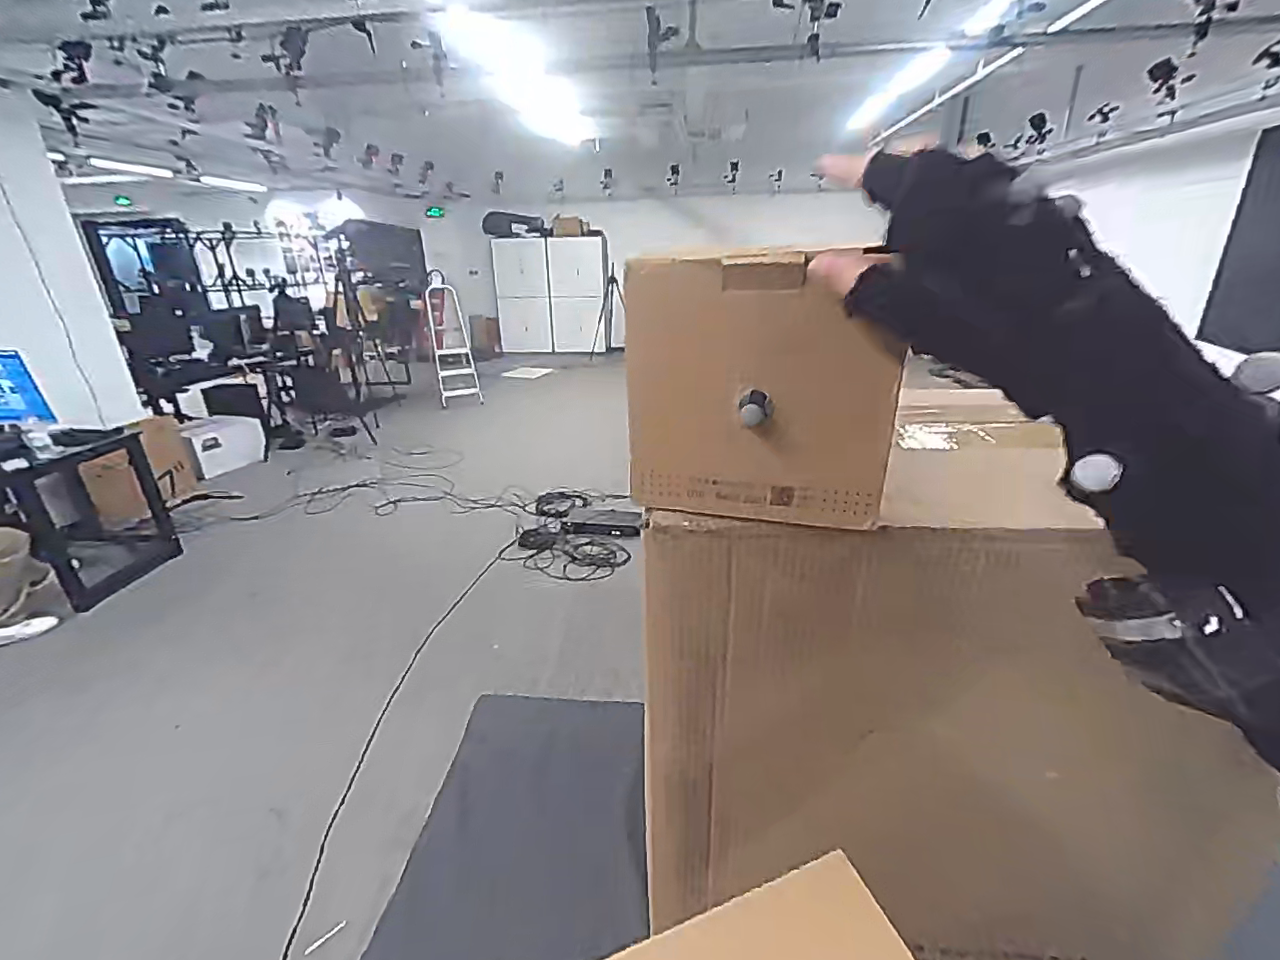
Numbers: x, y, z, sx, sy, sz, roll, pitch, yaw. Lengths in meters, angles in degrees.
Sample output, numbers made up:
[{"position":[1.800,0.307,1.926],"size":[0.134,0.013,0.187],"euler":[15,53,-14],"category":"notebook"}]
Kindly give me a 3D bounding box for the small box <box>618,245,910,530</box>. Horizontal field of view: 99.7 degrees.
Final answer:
[{"position":[0.092,-0.078,0.407],"size":[0.168,0.176,0.179],"euler":[6,26,16],"category":"small box"}]
